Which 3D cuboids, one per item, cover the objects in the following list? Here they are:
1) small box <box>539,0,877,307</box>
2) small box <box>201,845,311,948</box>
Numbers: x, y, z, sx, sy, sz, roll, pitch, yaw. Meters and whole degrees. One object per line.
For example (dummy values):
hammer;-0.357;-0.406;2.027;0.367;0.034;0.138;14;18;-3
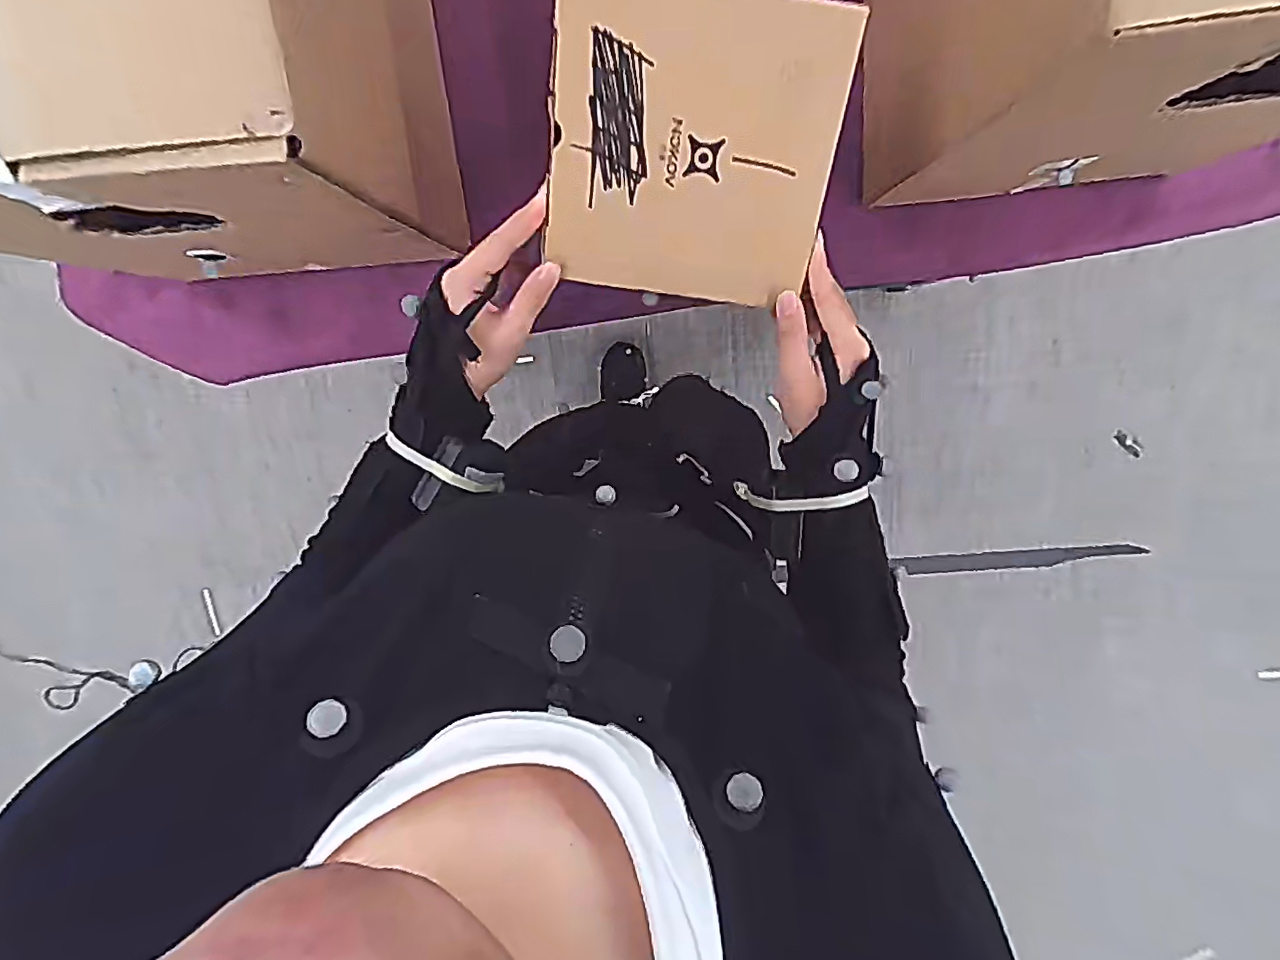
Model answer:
small box;0.034;-0.229;0.393;0.179;0.176;0.168;8;114;-2
small box;-1.125;1.223;1.596;0.179;0.176;0.168;-12;103;3
